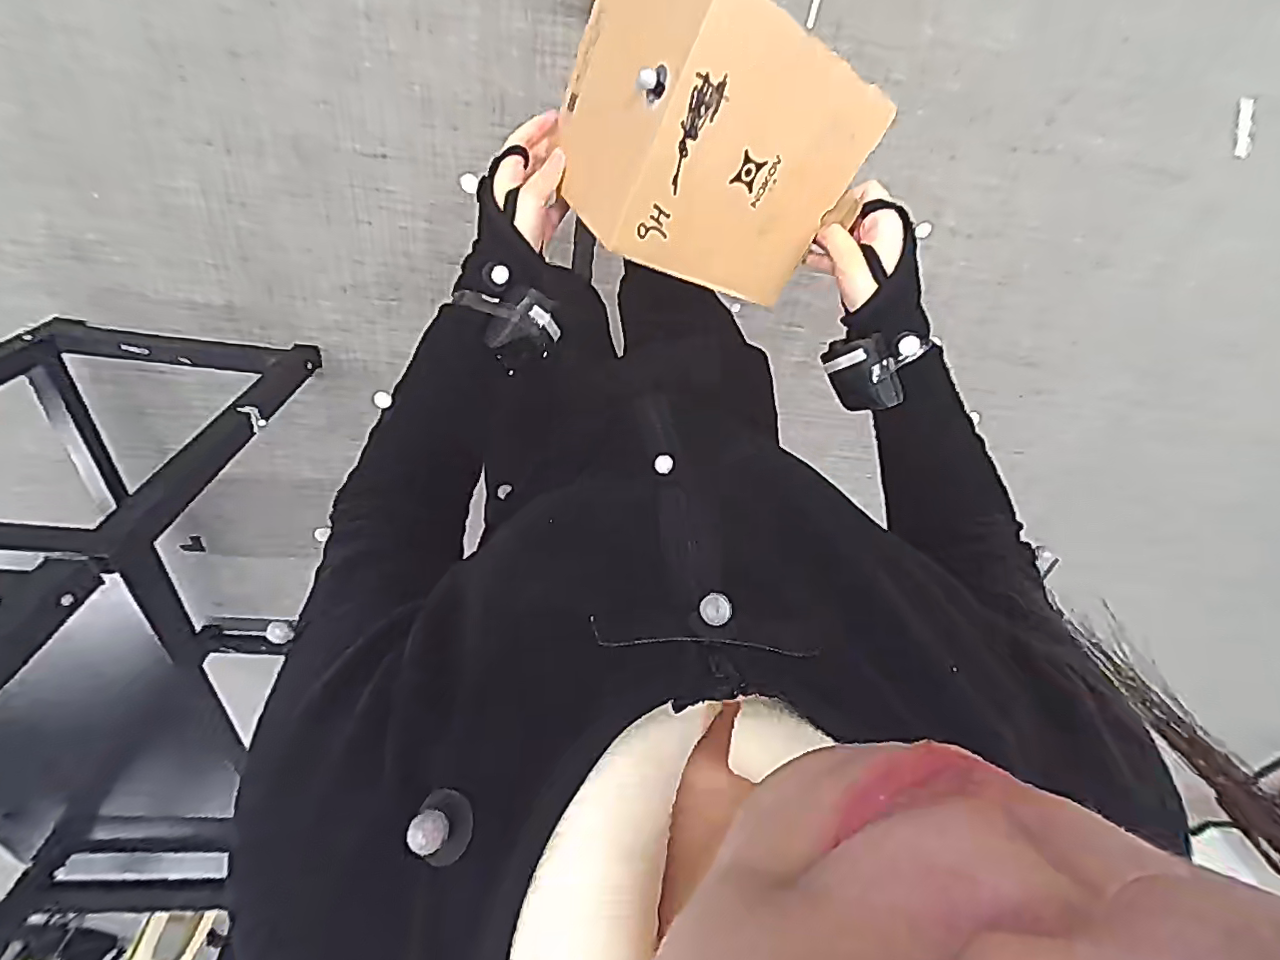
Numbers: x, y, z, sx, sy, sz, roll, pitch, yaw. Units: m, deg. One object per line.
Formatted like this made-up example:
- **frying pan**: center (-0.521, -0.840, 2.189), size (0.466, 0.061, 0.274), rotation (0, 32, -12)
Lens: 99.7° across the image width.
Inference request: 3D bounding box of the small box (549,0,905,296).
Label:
- **small box**: center (0.054, -0.277, 0.425), size (0.179, 0.176, 0.168), rotation (4, 130, -37)
